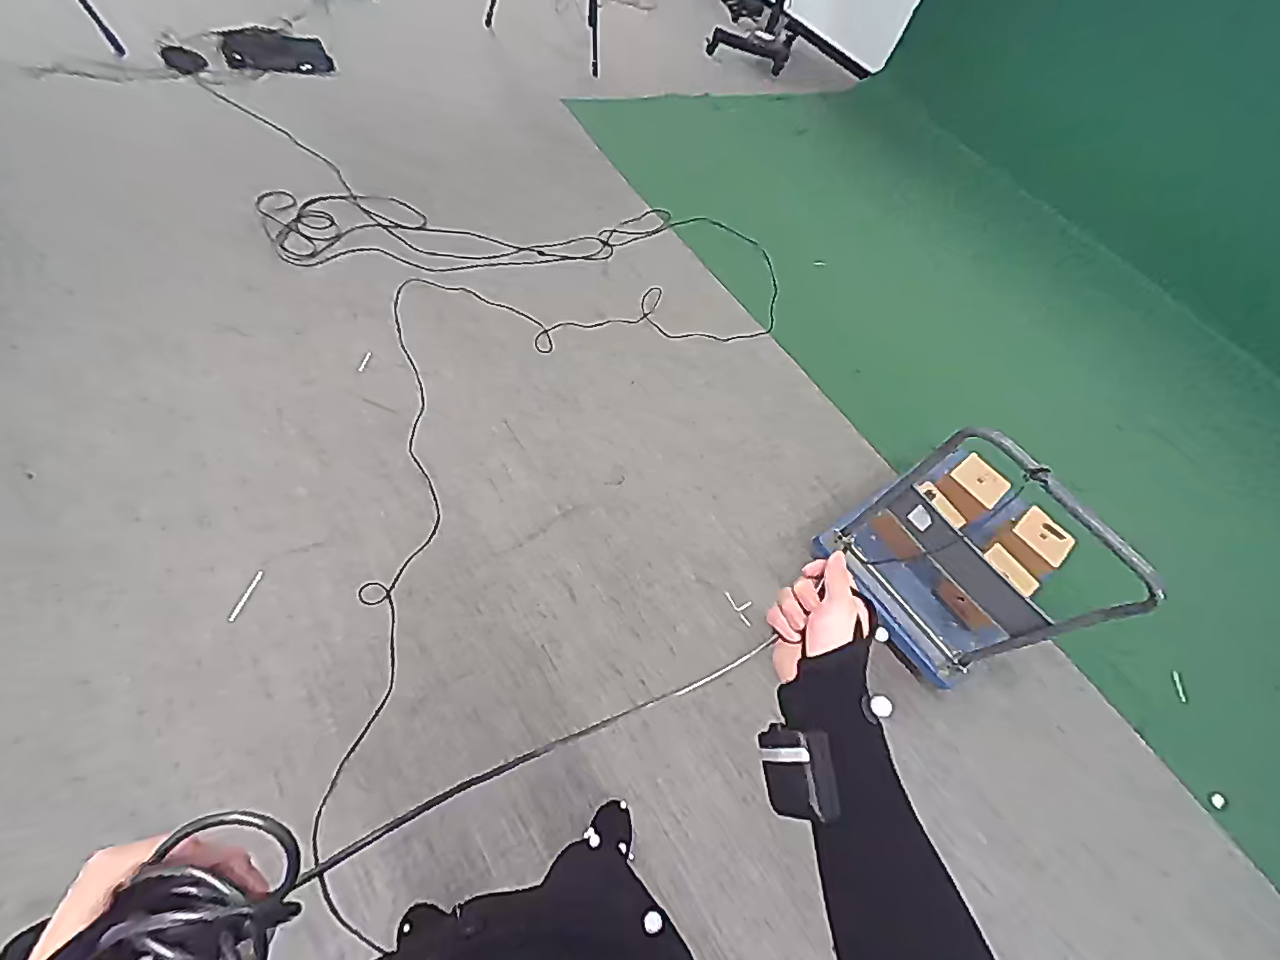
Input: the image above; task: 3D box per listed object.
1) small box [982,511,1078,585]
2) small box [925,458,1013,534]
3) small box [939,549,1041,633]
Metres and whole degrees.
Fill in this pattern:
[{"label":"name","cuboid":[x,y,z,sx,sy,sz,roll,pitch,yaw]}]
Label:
[{"label":"small box","cuboid":[1.293,0.240,1.804,0.179,0.176,0.168,-31,69,-28]},{"label":"small box","cuboid":[1.135,0.060,1.881,0.179,0.176,0.168,-31,70,-29]},{"label":"small box","cuboid":[1.079,0.348,1.680,0.179,0.176,0.168,-26,67,-26]}]
